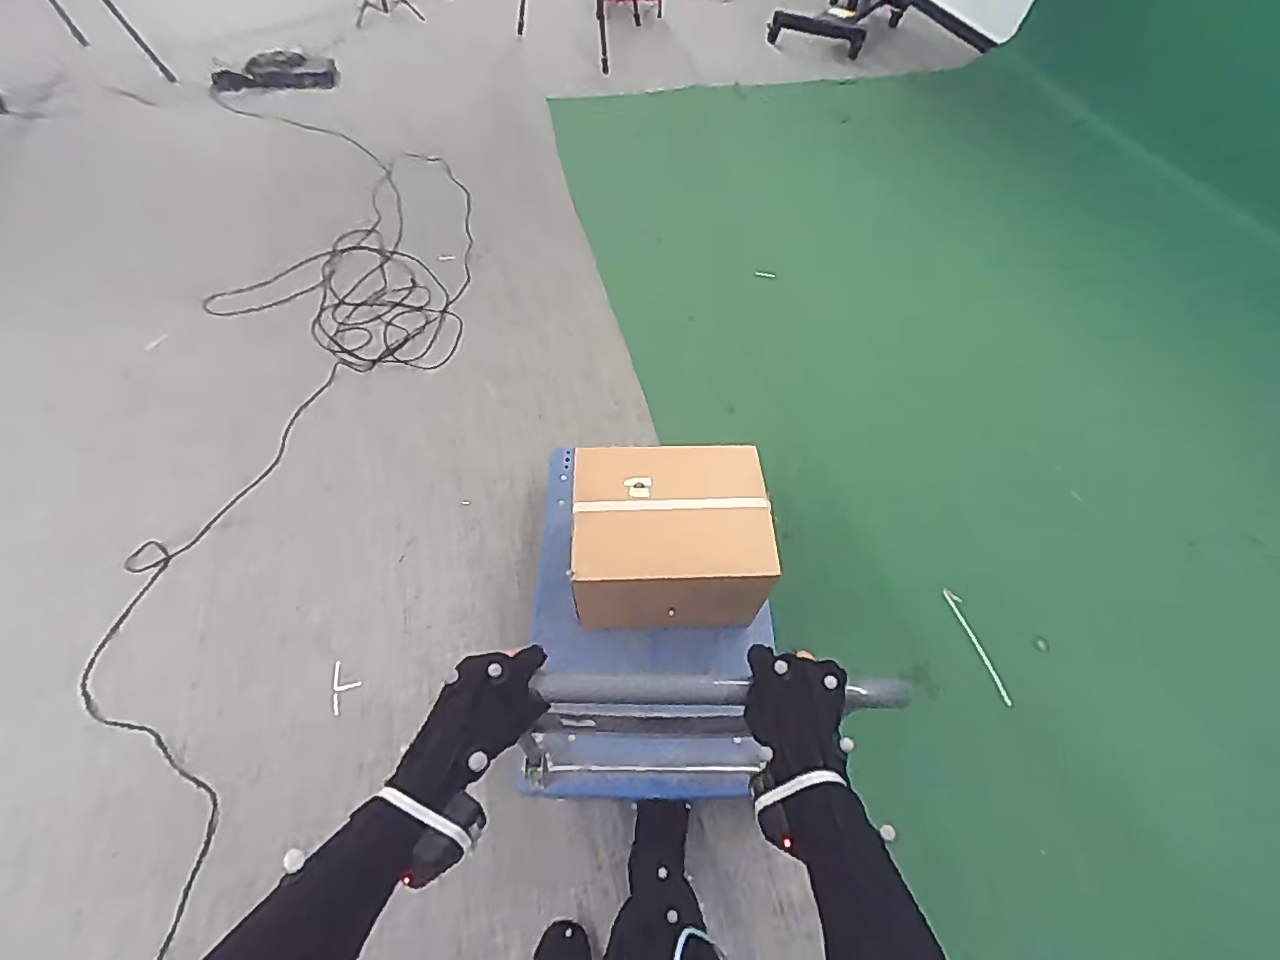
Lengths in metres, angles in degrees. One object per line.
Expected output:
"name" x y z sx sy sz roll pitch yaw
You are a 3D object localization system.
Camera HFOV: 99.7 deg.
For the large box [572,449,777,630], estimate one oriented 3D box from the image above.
"large box" 0.058 0.145 1.242 0.408 0.320 0.320 -1 56 -3
